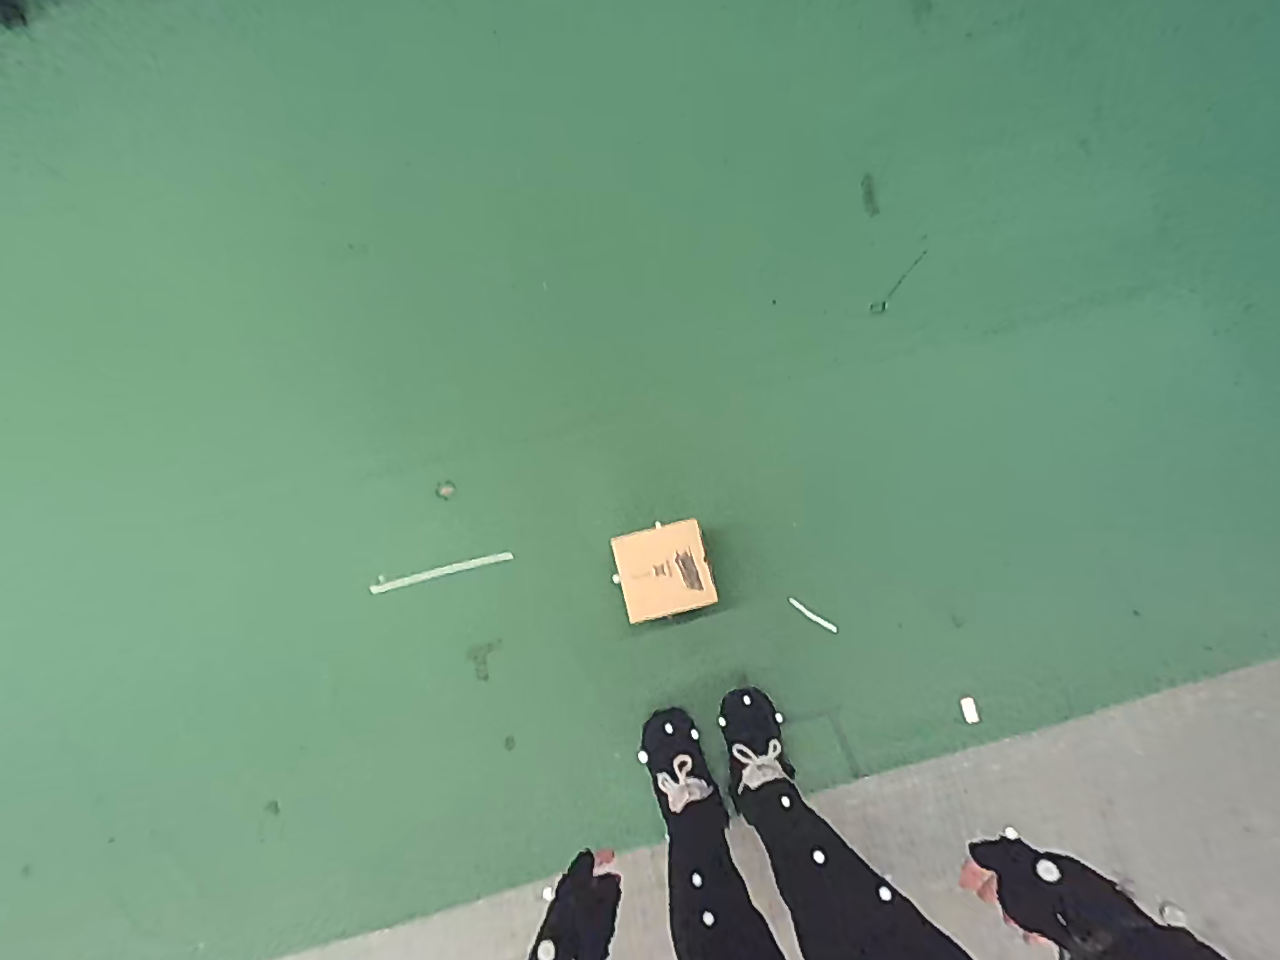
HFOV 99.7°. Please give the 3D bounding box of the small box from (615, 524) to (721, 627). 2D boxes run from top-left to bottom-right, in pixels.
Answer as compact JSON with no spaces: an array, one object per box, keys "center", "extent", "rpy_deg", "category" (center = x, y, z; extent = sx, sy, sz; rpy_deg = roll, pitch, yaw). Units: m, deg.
[{"center":[0.051,0.193,1.106],"extent":[0.179,0.176,0.168],"rpy_deg":[-14,80,-2],"category":"small box"}]
